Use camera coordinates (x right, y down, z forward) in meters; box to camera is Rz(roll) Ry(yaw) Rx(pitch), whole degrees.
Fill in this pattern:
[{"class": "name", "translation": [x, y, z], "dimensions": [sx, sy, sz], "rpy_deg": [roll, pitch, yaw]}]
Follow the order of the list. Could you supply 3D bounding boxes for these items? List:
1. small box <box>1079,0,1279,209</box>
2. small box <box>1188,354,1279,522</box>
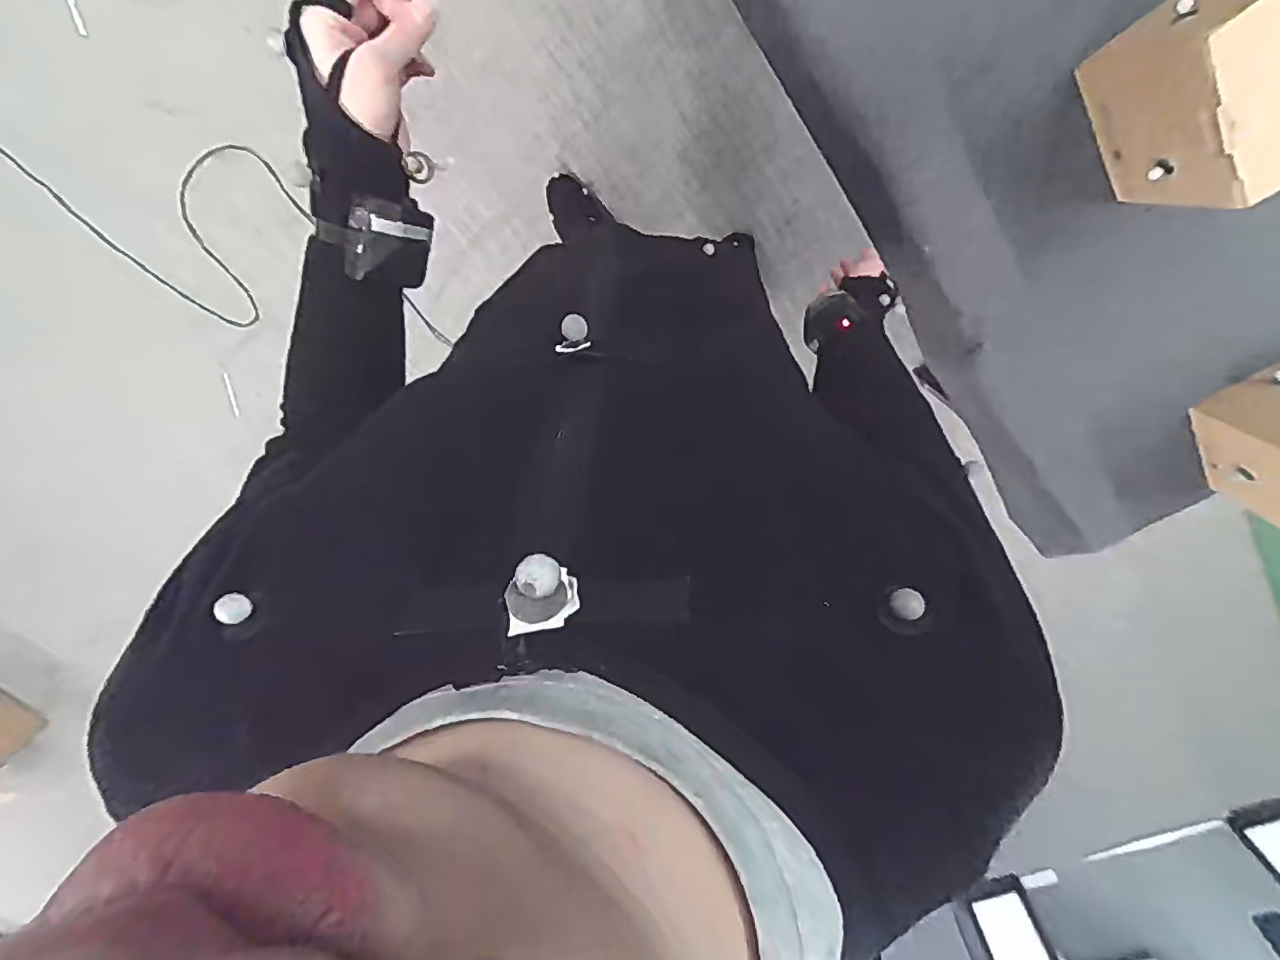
[{"class": "small box", "translation": [0.583, -0.398, 0.531], "dimensions": [0.179, 0.176, 0.168], "rpy_deg": [-35, 114, 19]}, {"class": "small box", "translation": [0.885, -0.058, 0.712], "dimensions": [0.179, 0.176, 0.168], "rpy_deg": [-32, 114, 19]}]
